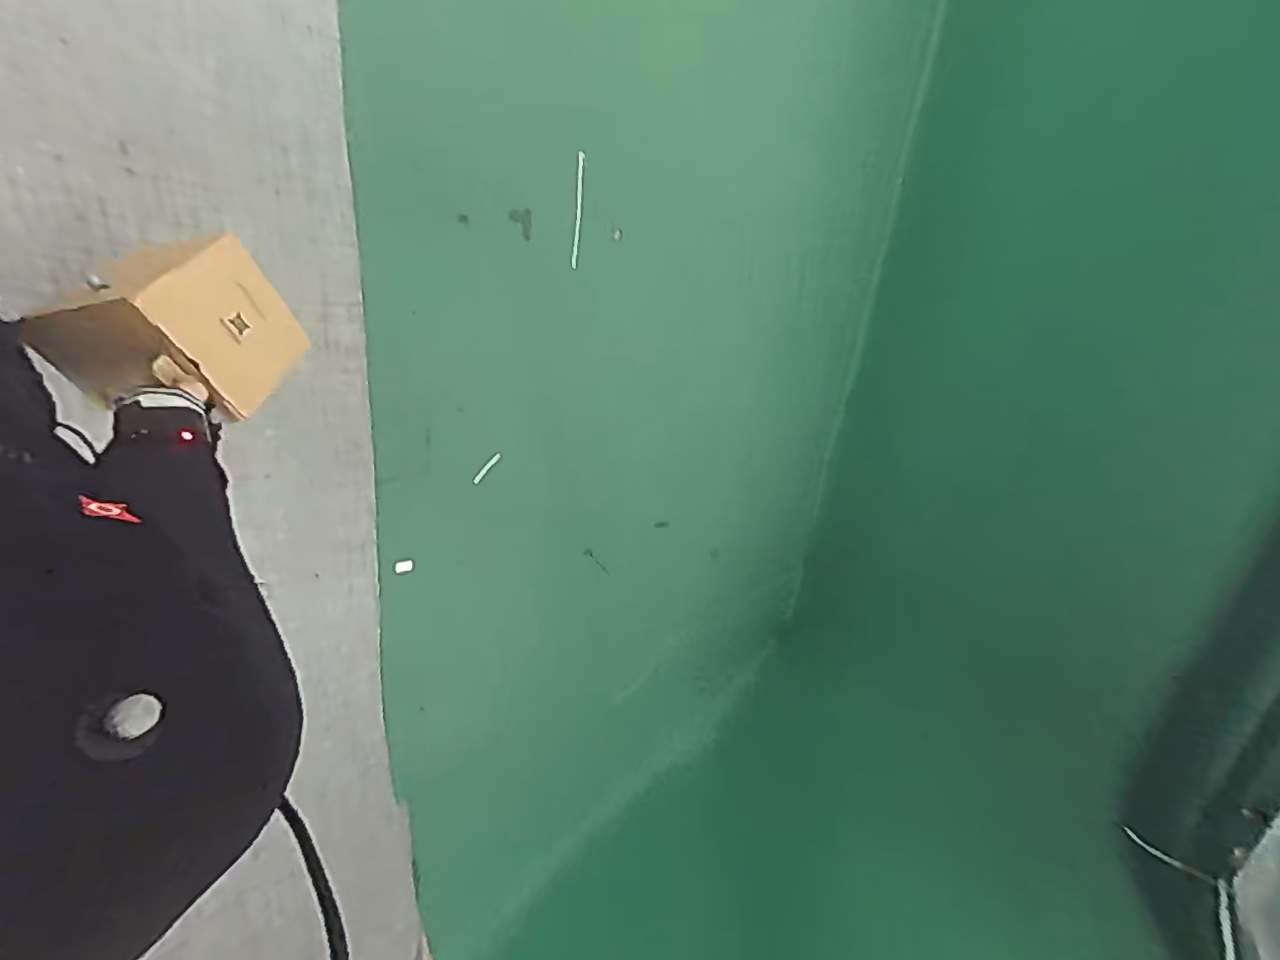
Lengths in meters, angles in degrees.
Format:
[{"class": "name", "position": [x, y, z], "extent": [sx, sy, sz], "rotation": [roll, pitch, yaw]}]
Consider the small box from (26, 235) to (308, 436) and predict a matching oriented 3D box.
[{"class": "small box", "position": [-0.569, -0.173, 0.665], "extent": [0.179, 0.176, 0.168], "rotation": [-89, 168, -45]}]
